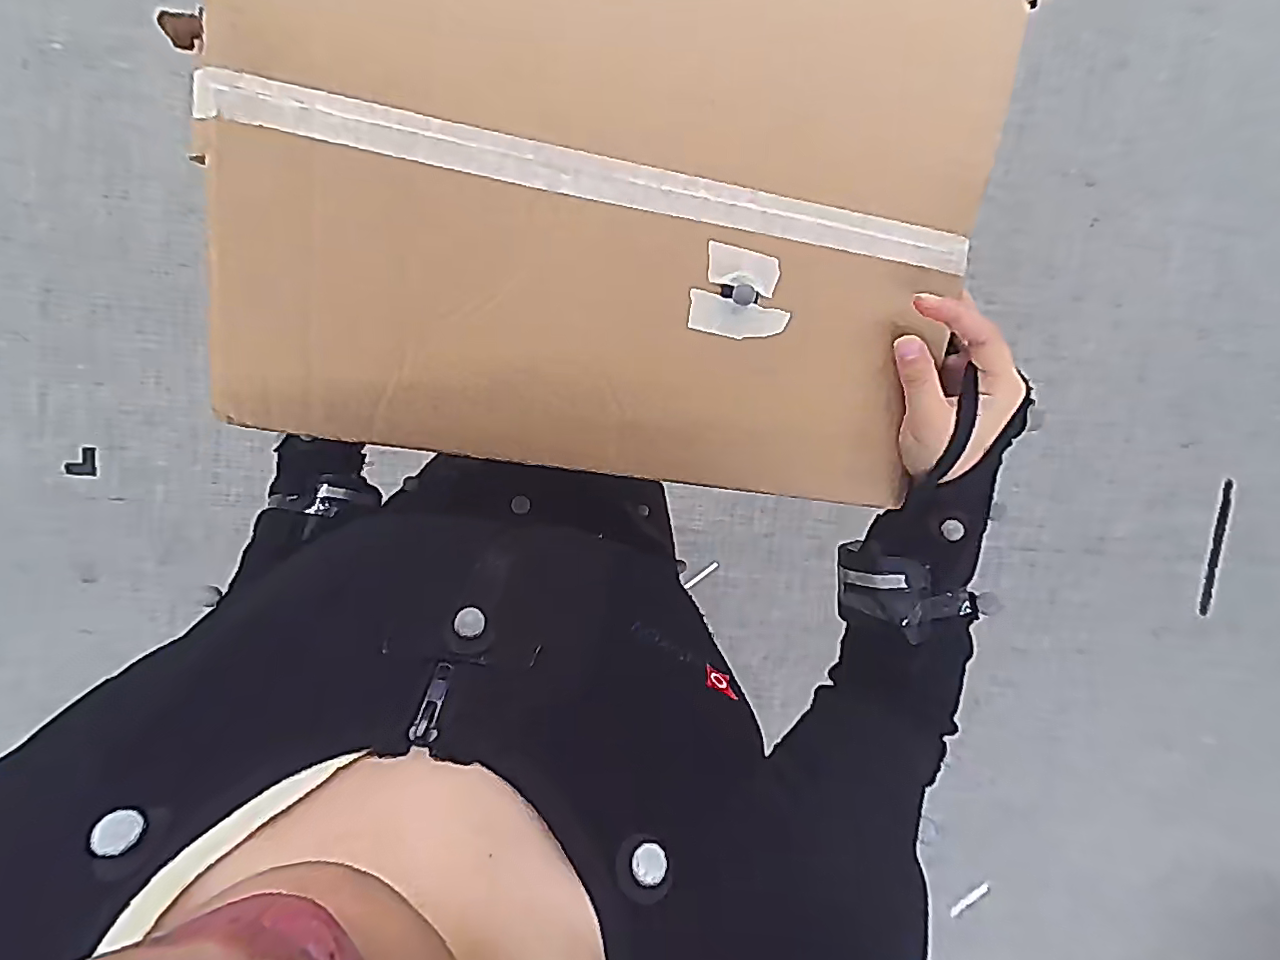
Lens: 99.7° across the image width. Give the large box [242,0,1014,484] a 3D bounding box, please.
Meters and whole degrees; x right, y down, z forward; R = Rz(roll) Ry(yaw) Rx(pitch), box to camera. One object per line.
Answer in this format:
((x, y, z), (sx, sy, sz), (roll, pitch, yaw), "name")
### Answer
((-0.024, -0.196, 0.441), (0.408, 0.320, 0.320), (7, 102, -12), "large box")
